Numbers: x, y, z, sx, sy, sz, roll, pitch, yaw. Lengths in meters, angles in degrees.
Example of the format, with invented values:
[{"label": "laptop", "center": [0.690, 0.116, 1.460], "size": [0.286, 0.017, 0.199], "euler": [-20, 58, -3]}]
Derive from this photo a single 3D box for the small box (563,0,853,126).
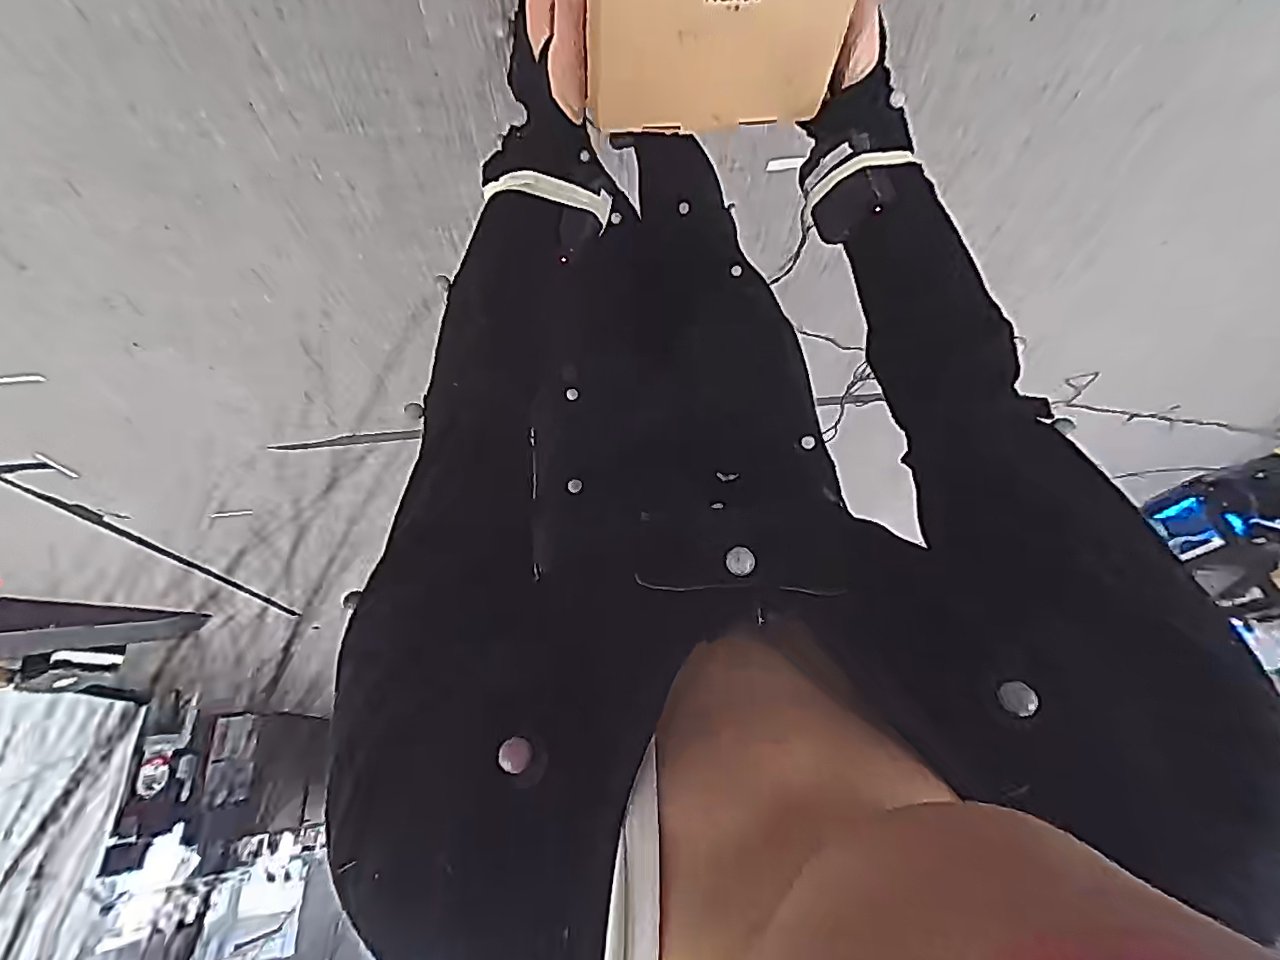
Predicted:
[{"label": "small box", "center": [0.037, -0.367, 0.343], "size": [0.168, 0.176, 0.179], "euler": [-12, 155, -10]}]
